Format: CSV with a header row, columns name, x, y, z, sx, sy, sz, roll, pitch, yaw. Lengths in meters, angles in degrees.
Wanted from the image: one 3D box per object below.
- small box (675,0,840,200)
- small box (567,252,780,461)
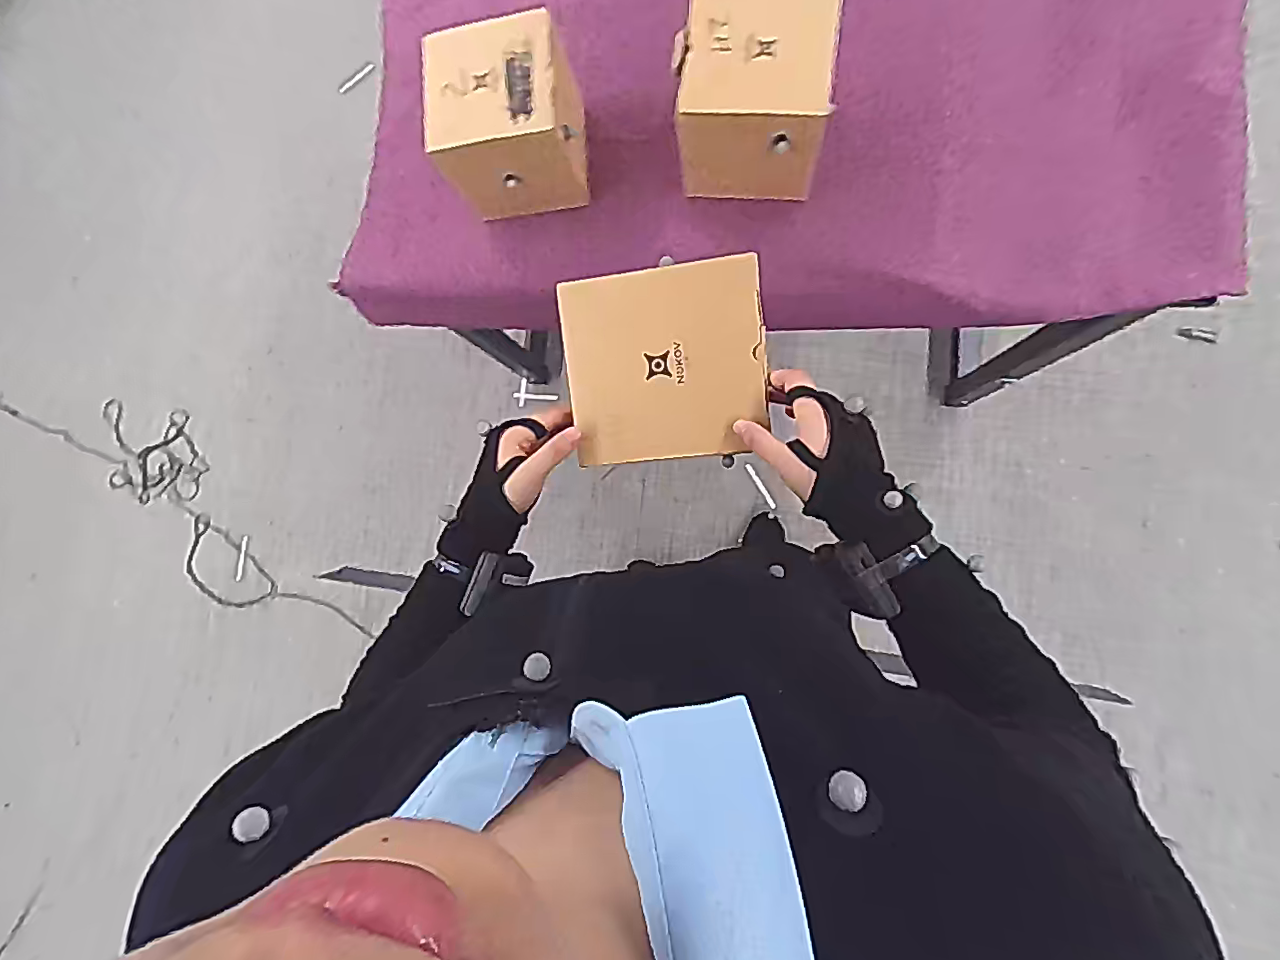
name,x,y,z,sx,sy,sz,roll,pitch,yaw
small box,0.150,-0.495,0.714,0.179,0.176,0.168,7,86,10
small box,0.041,-0.111,0.545,0.179,0.176,0.168,-5,96,9
